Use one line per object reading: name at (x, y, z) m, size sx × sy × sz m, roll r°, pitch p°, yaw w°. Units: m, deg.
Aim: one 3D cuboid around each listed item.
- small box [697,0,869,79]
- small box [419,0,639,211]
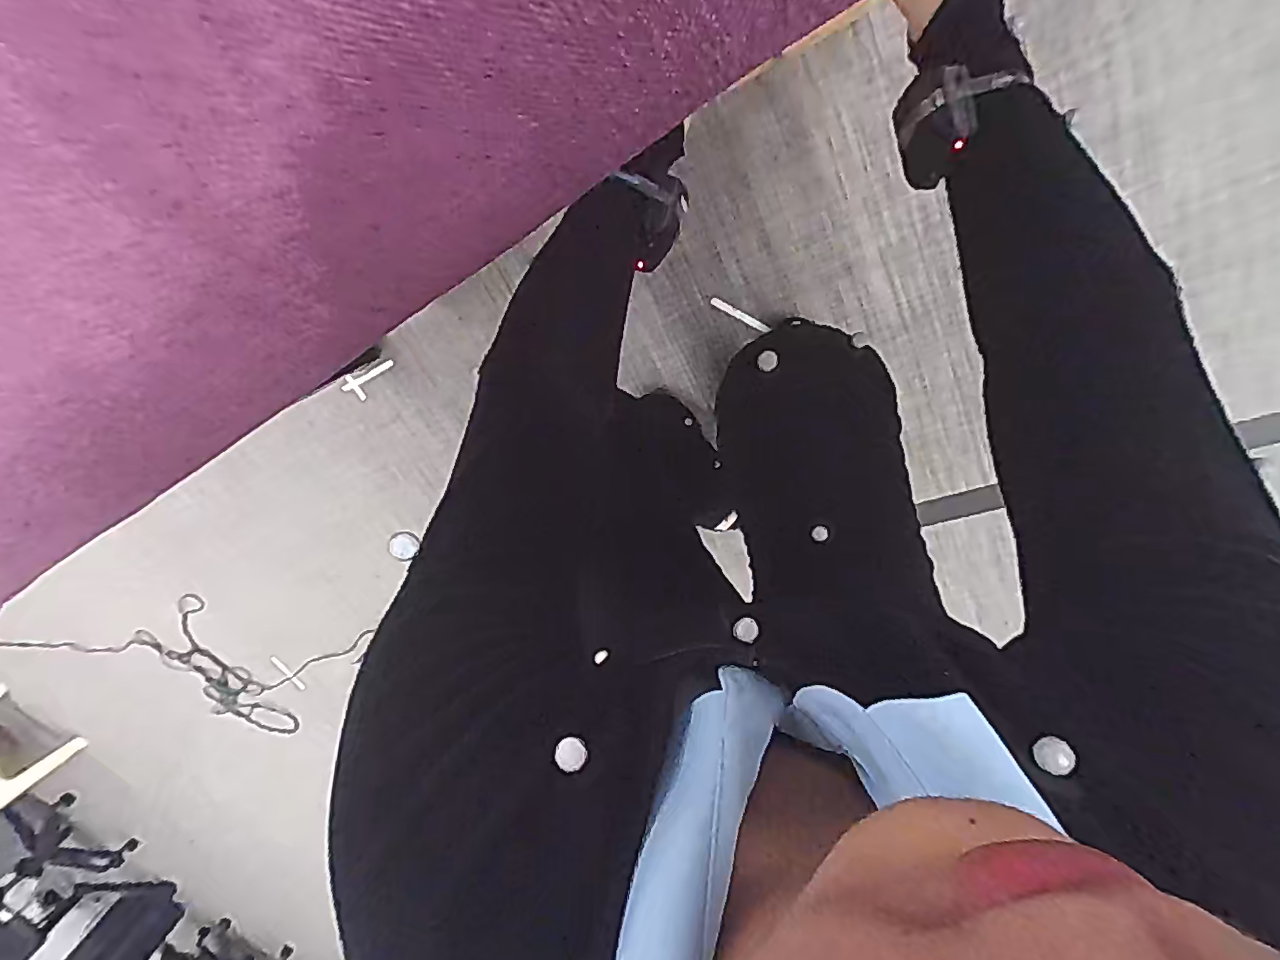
small box at (0.136, -0.542, 0.547) m, size 0.168 × 0.176 × 0.179 m, roll -17°, pitch 114°, yaw 22°
small box at (-0.118, -0.459, 0.657) m, size 0.168 × 0.176 × 0.179 m, roll -19°, pitch 113°, yaw 23°
